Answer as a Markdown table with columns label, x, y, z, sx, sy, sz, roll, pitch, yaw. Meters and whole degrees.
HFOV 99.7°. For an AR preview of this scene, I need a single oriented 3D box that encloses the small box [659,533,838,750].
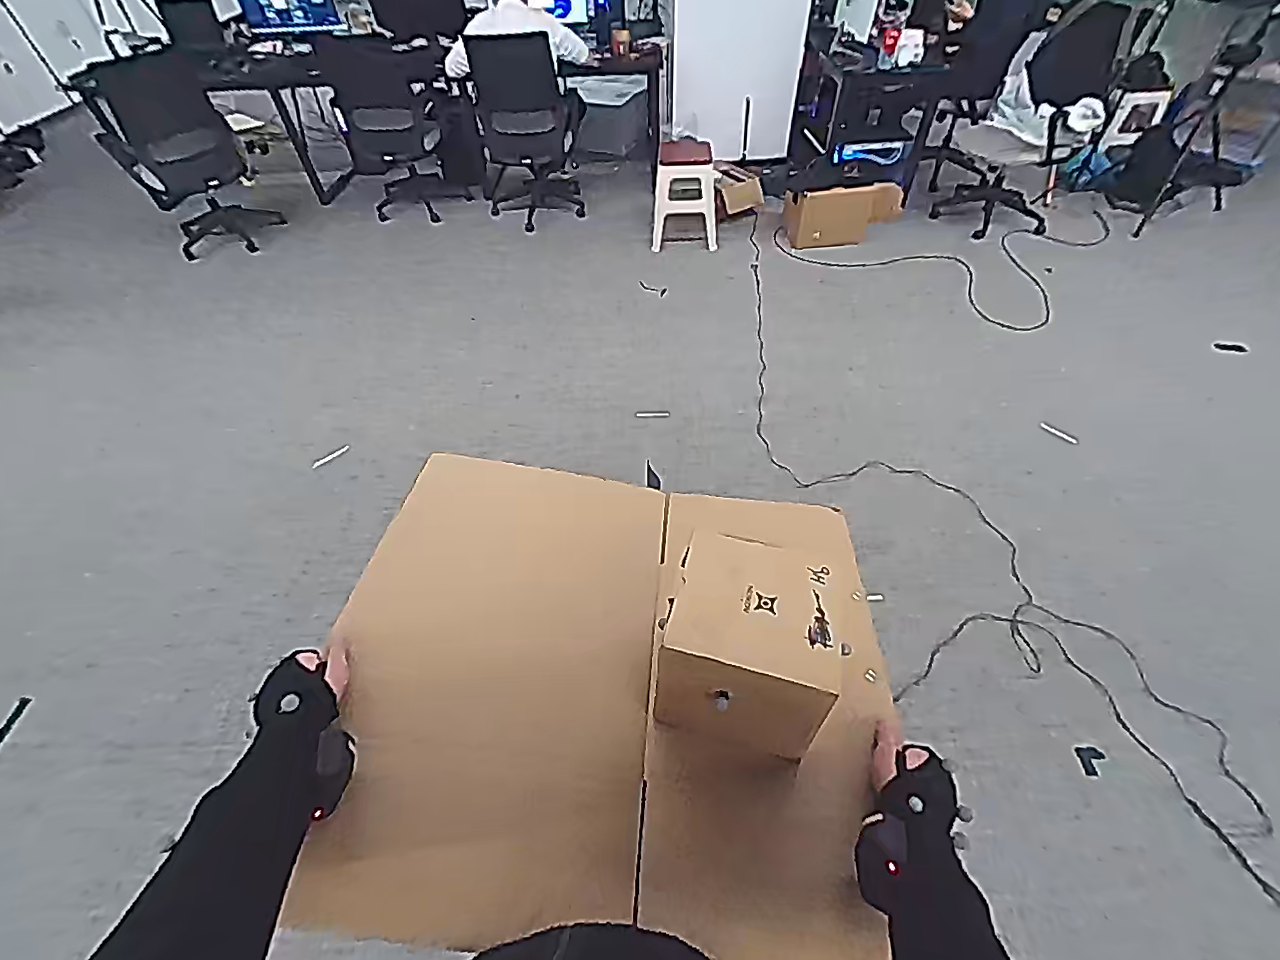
| label | x | y | z | sx | sy | sz | roll | pitch | yaw |
| --- | --- | --- | --- | --- | --- | --- | --- | --- | --- |
| small box | 0.123 | 0.191 | 0.638 | 0.179 | 0.176 | 0.168 | 11 | 44 | 11 |
